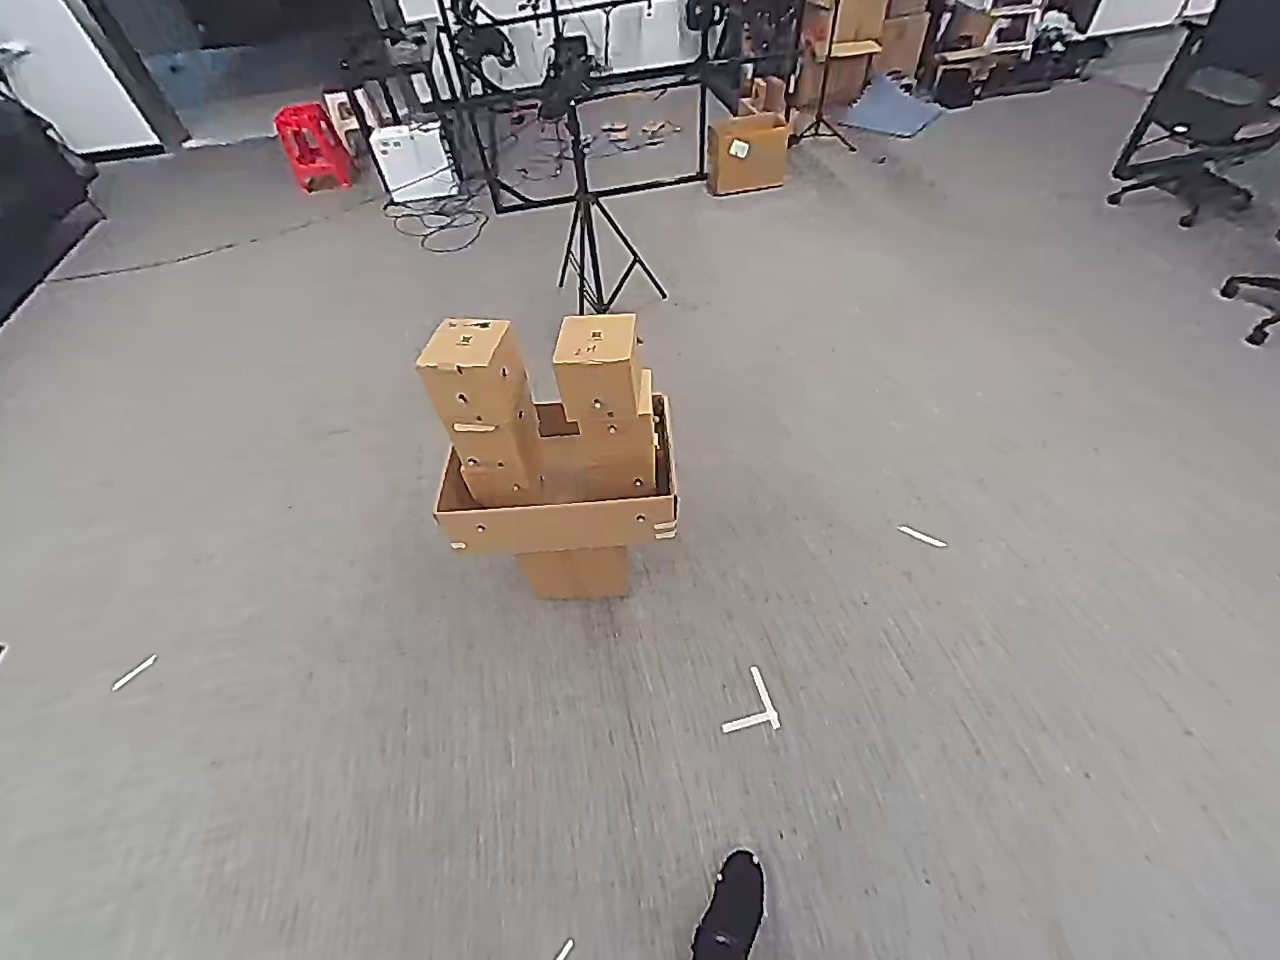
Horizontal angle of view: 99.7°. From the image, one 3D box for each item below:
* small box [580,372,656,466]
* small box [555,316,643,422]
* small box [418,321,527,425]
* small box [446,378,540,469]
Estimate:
[{"bbox_3d":[-0.048,-0.151,1.357,0.179,0.176,0.168,-3,49,4],"label":"small box"},{"bbox_3d":[-0.085,-0.250,1.229,0.168,0.176,0.179,-1,50,7],"label":"small box"},{"bbox_3d":[-0.375,-0.245,1.249,0.168,0.176,0.179,5,51,9],"label":"small box"},{"bbox_3d":[-0.364,-0.143,1.379,0.168,0.176,0.179,1,49,7],"label":"small box"}]
